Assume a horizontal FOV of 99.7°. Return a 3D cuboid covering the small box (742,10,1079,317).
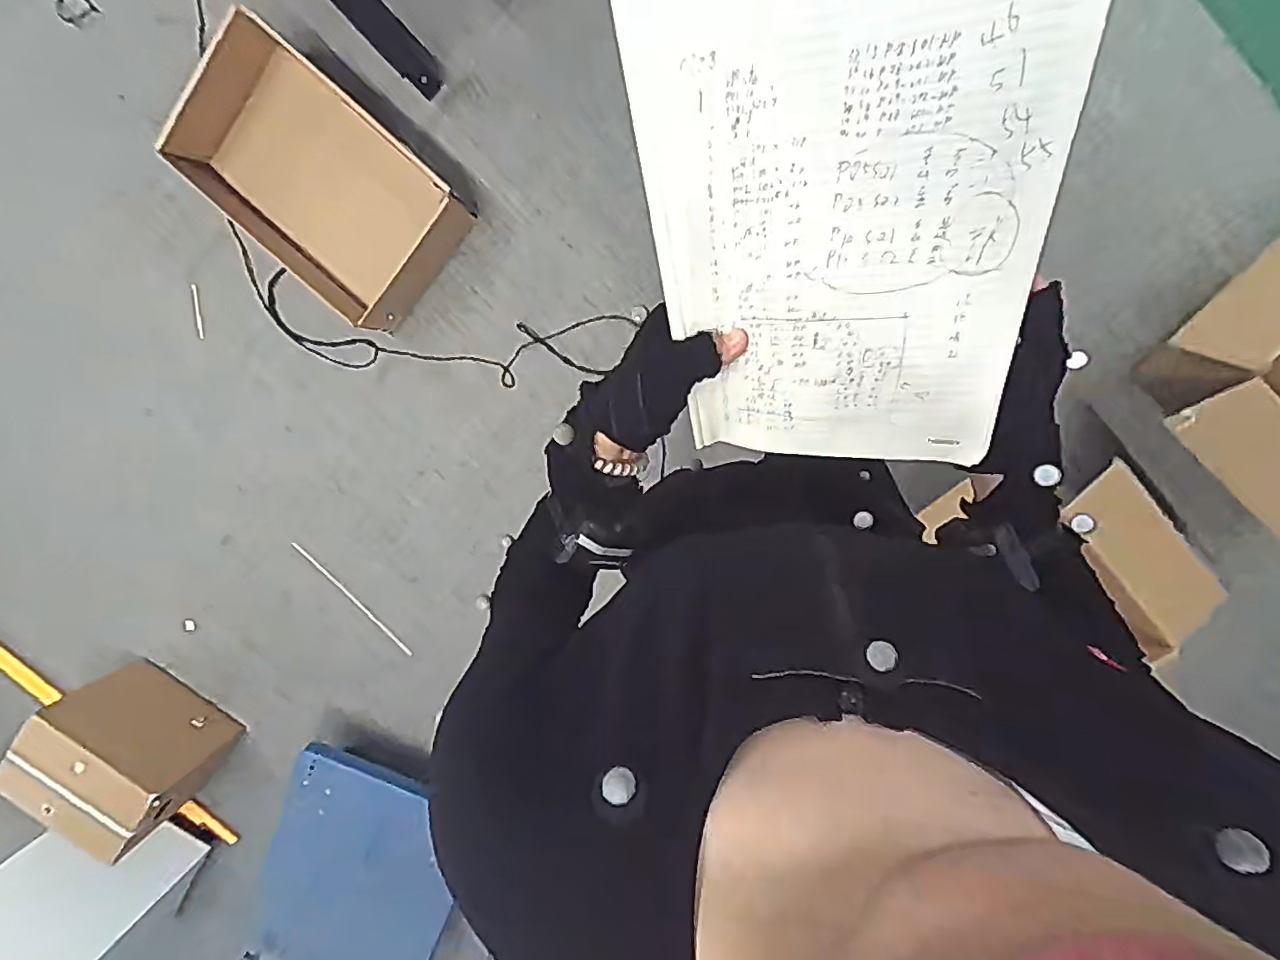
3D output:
[{"bbox_3d":[0.171,-0.217,0.412,0.179,0.176,0.168,3,112,10],"label":"small box"}]
